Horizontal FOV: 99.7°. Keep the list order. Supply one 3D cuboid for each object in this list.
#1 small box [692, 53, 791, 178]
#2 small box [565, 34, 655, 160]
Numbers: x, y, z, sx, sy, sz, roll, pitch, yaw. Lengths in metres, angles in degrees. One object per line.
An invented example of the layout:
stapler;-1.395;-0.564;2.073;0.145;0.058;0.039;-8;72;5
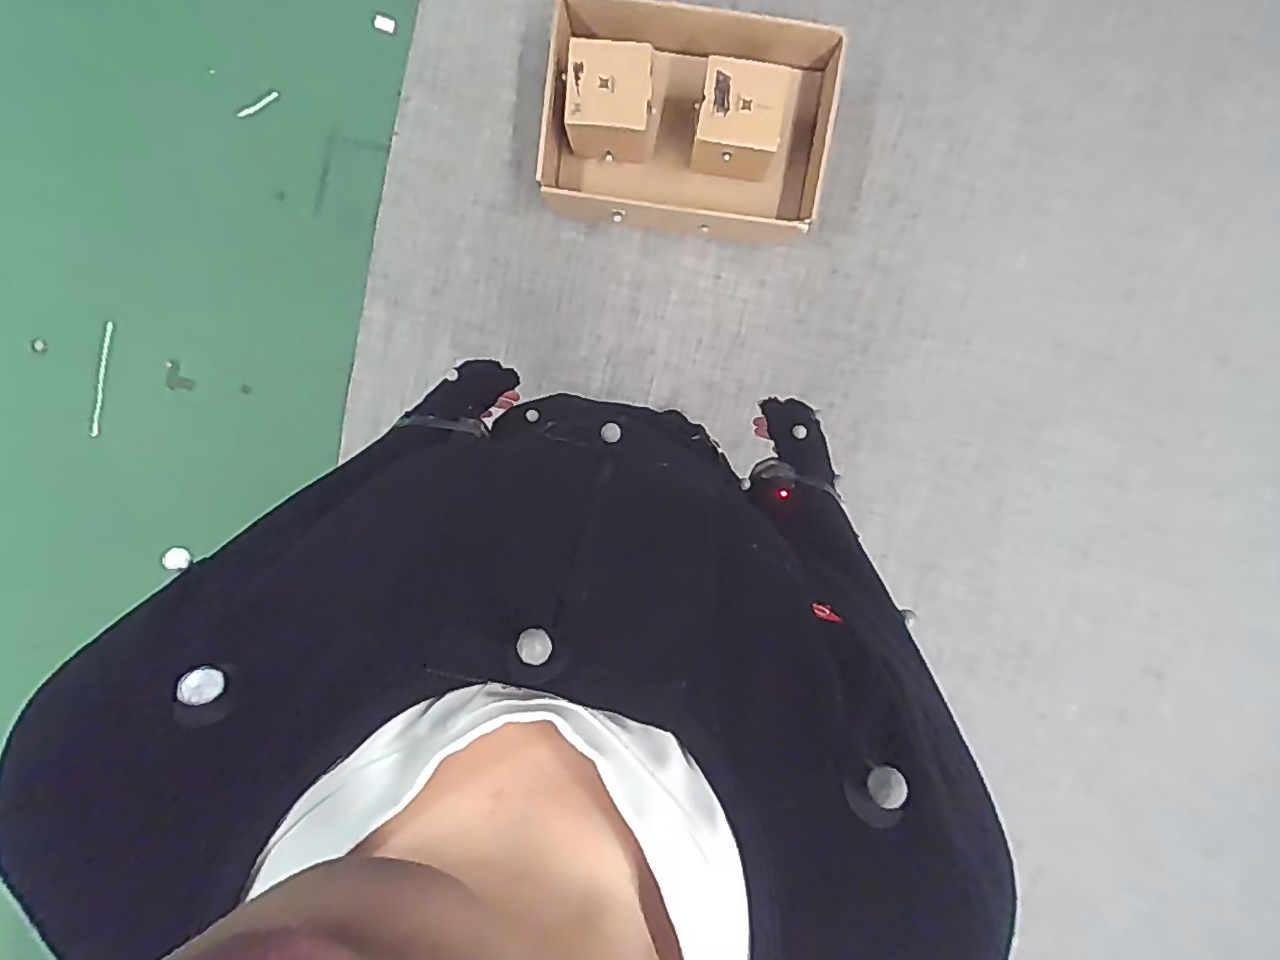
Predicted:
small box;0.216;-0.798;1.199;0.179;0.176;0.168;9;99;0
small box;-0.063;-0.838;1.201;0.179;0.176;0.168;5;98;-1
